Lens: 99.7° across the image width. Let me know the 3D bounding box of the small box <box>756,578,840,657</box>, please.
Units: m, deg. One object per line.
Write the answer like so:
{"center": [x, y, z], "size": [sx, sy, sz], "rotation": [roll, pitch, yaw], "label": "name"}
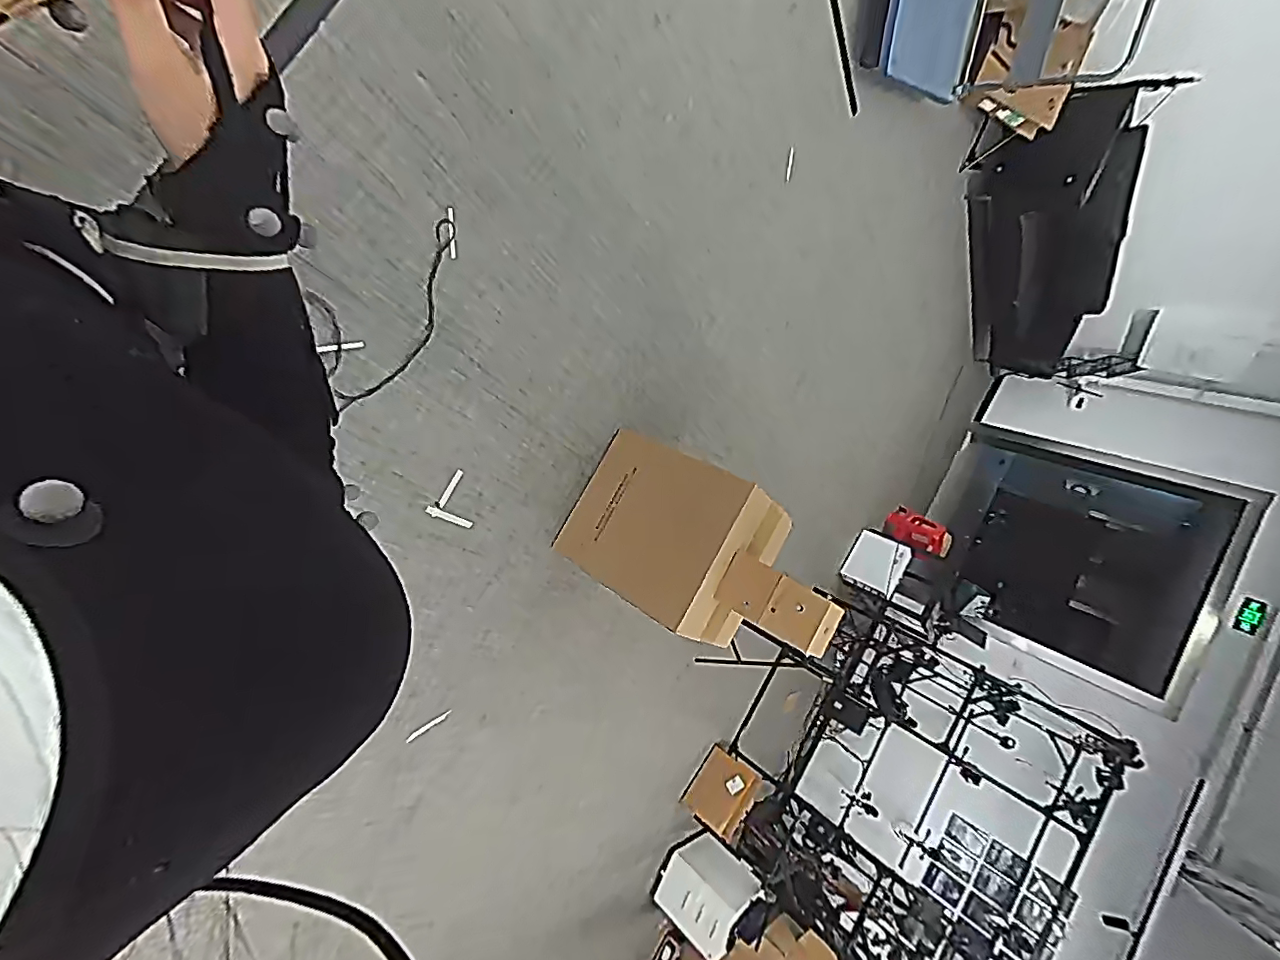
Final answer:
{"center": [0.476, 0.413, 1.633], "size": [0.179, 0.176, 0.168], "rotation": [33, 84, -53], "label": "small box"}
